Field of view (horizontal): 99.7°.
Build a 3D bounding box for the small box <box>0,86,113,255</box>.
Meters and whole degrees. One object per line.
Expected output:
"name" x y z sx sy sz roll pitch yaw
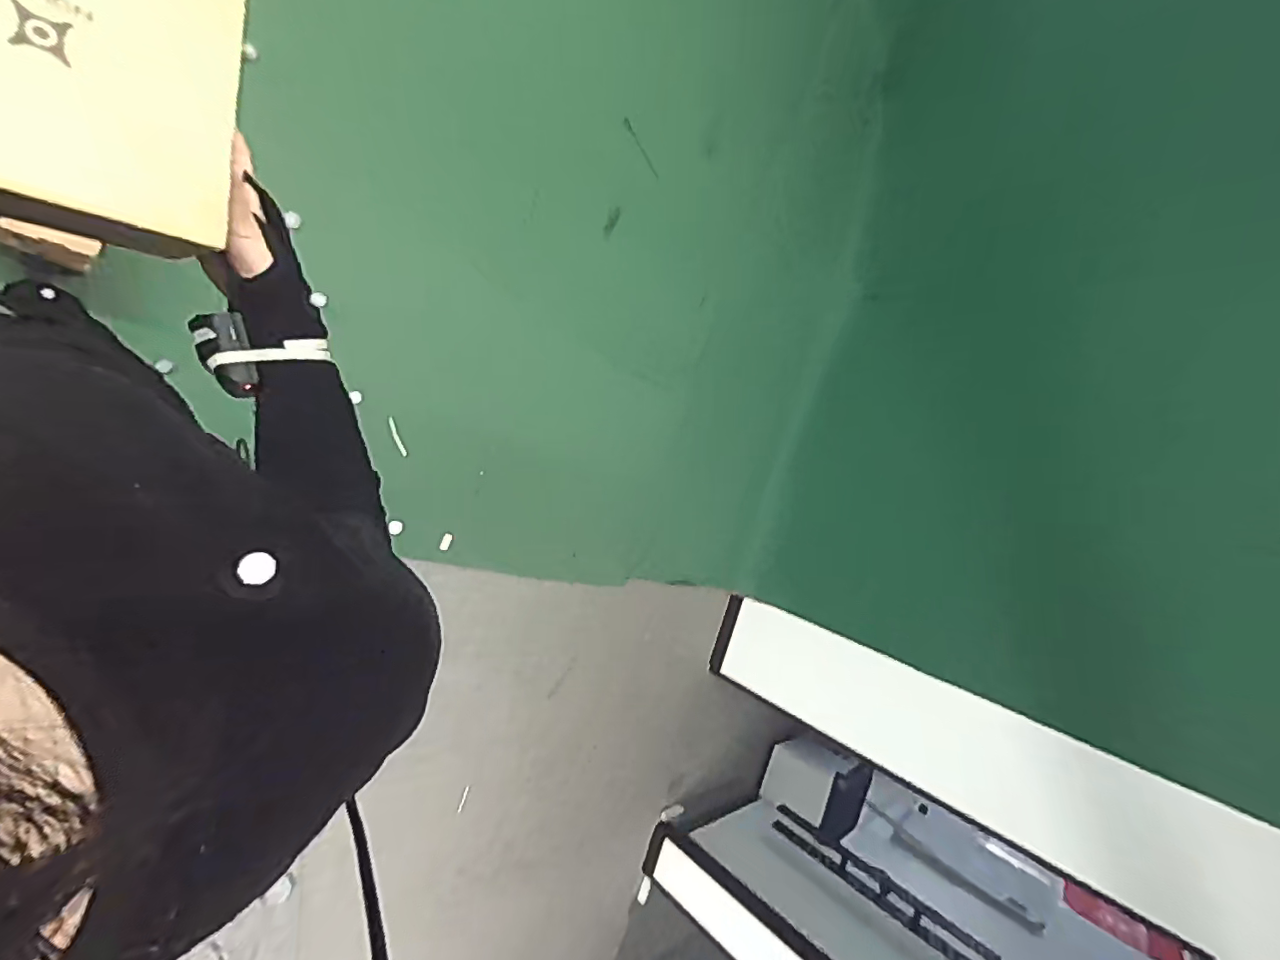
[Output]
"small box" -0.922 -0.456 0.798 0.168 0.176 0.179 18 90 -49
